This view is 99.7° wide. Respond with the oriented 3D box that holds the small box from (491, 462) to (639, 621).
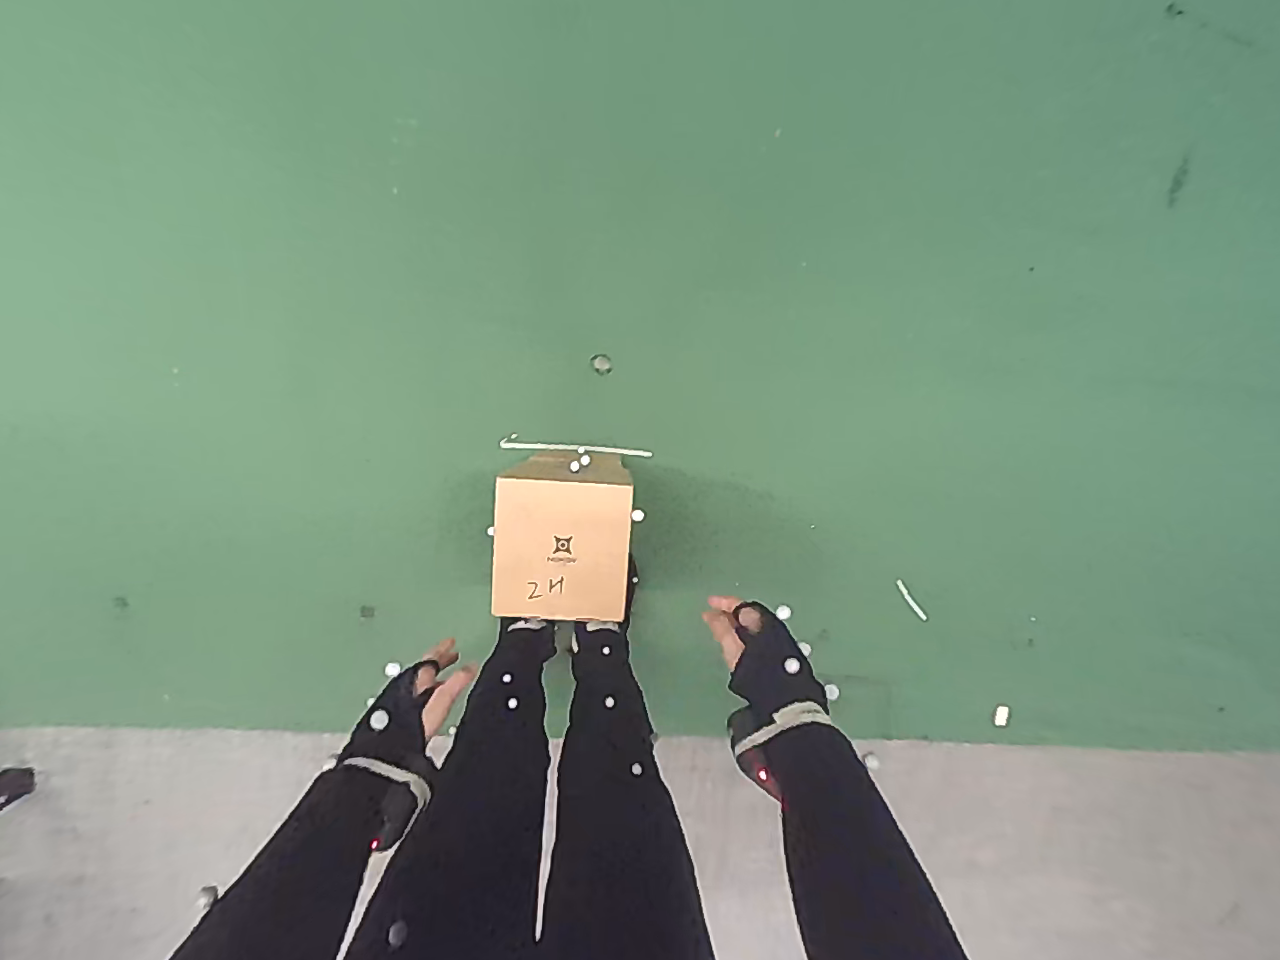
[{"bbox_3d":[-0.097,0.072,0.728,0.168,0.176,0.179,5,97,-5],"label":"small box"}]
